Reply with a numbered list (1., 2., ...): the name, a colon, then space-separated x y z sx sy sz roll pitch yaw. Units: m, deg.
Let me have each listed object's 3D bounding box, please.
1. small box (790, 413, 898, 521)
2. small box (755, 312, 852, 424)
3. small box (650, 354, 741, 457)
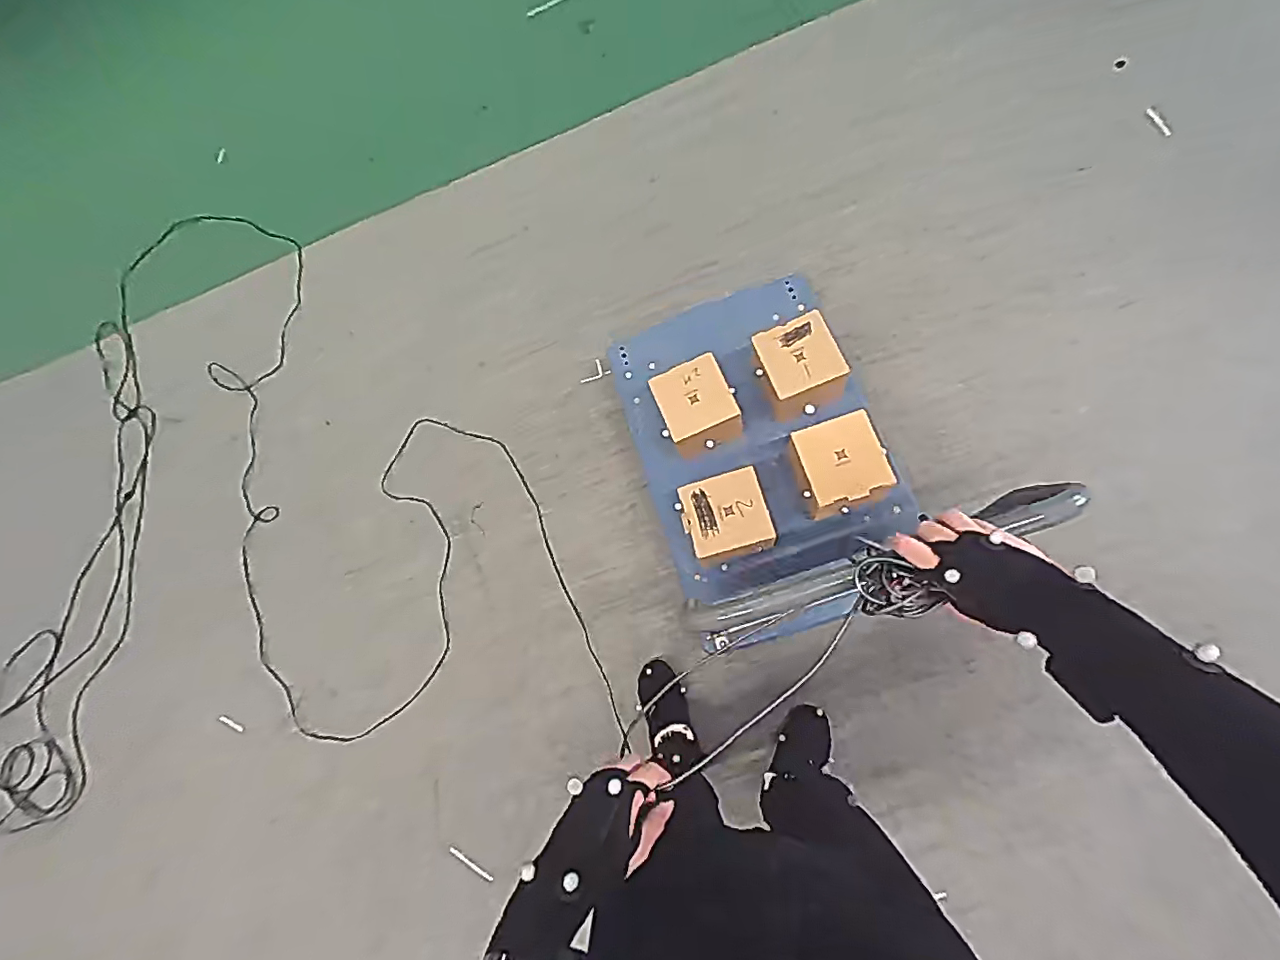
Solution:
1. small box: 0.448 -0.023 1.218 0.168 0.176 0.179 -18 72 7
2. small box: 0.380 -0.260 1.291 0.168 0.176 0.179 -21 73 7
3. small box: 0.142 -0.169 1.318 0.168 0.176 0.179 -23 72 5
